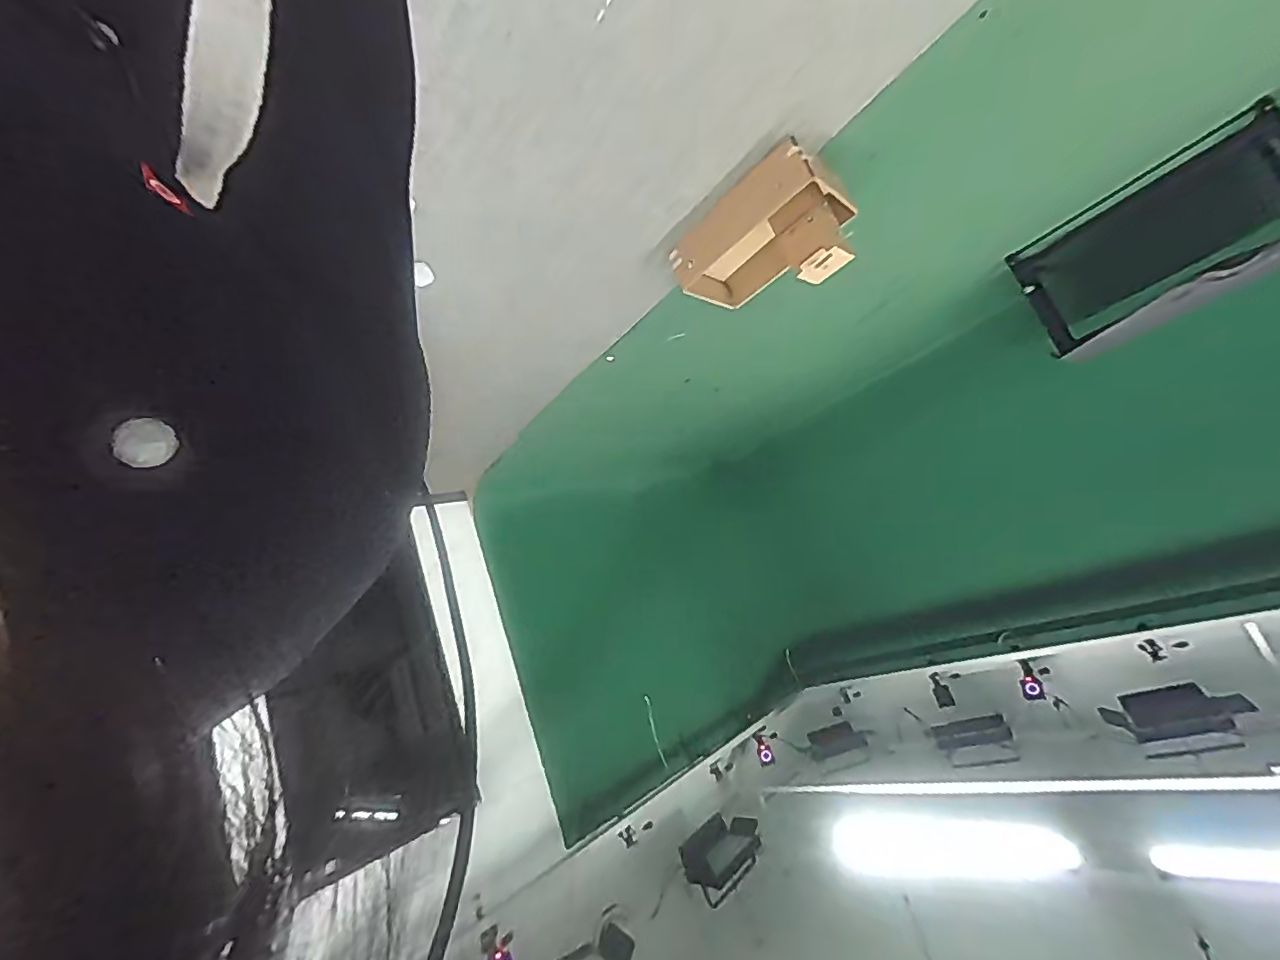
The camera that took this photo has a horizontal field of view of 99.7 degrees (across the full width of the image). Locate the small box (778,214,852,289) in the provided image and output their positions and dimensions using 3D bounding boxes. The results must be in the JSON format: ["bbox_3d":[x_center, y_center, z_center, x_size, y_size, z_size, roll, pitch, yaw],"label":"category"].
[{"bbox_3d":[0.630,-0.829,1.960,0.179,0.176,0.168,-6,161,-46],"label":"small box"}]

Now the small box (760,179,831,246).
[{"bbox_3d":[0.581,-0.978,2.010,0.179,0.176,0.168,-5,160,-45],"label":"small box"}]
